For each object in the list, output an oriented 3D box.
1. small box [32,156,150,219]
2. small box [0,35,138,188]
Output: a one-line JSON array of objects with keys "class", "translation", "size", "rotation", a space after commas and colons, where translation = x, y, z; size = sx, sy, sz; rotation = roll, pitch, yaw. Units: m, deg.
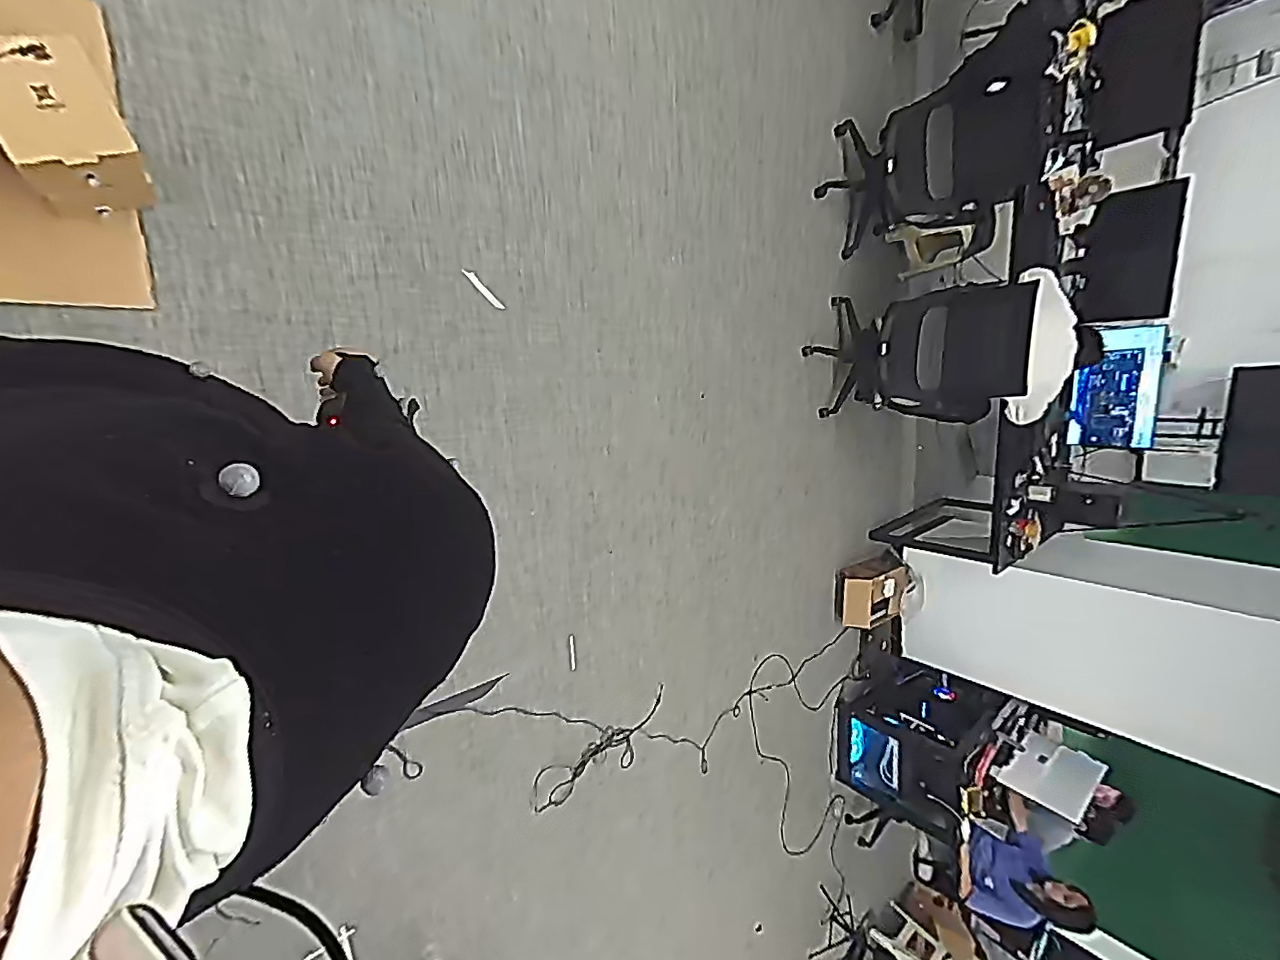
[{"class": "small box", "translation": [-1.104, -0.635, 1.050], "size": [0.168, 0.176, 0.179], "rotation": [-33, 116, -31]}, {"class": "small box", "translation": [-1.005, -0.616, 0.922], "size": [0.168, 0.176, 0.179], "rotation": [-31, 116, -32]}]
